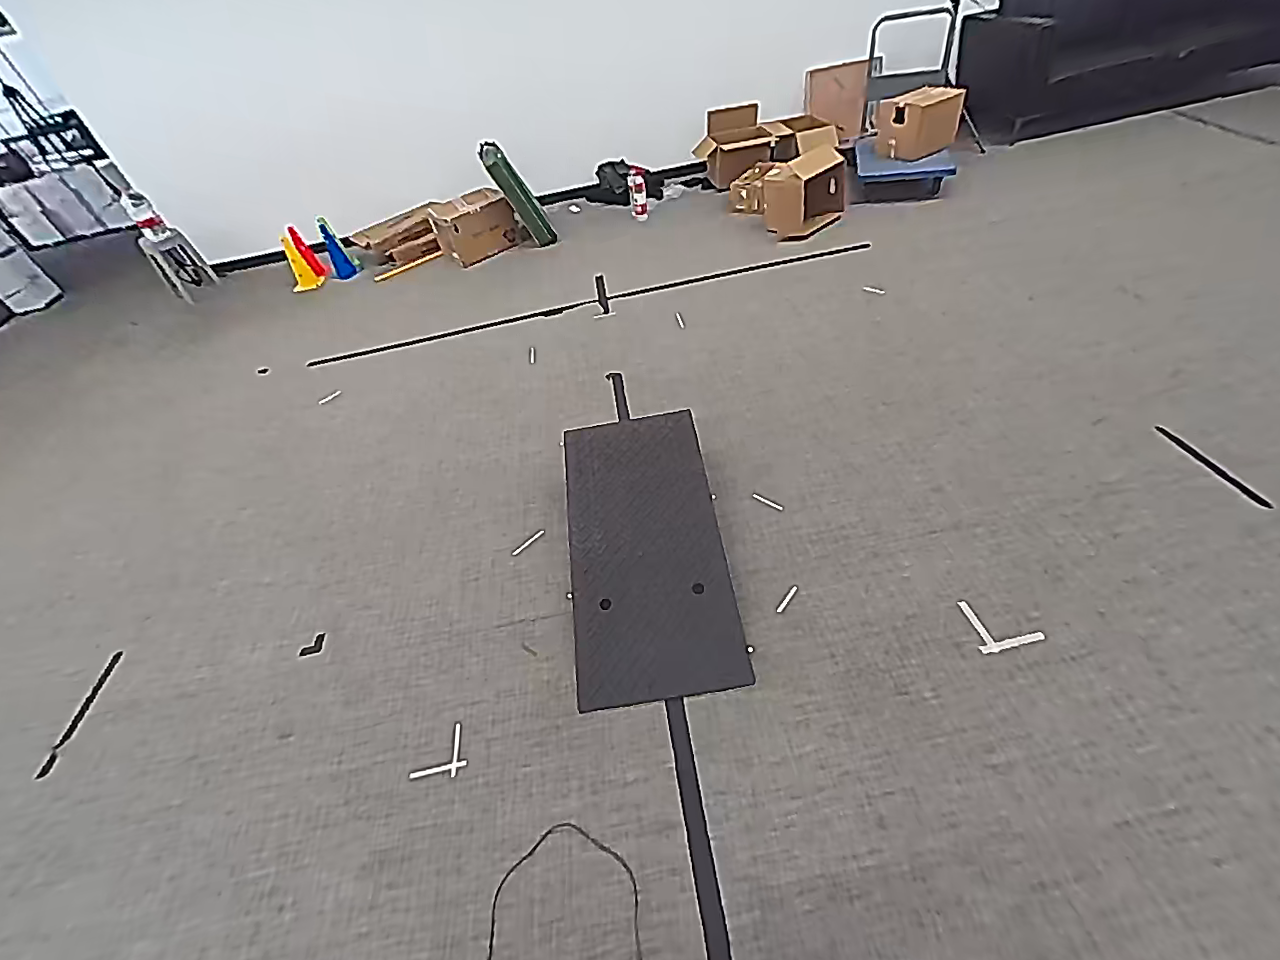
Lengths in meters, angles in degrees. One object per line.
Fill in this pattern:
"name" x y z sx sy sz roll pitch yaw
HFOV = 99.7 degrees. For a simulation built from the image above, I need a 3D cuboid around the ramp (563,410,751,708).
"ramp" 0.010 0.183 1.759 0.509 0.206 0.991 -10 45 0
